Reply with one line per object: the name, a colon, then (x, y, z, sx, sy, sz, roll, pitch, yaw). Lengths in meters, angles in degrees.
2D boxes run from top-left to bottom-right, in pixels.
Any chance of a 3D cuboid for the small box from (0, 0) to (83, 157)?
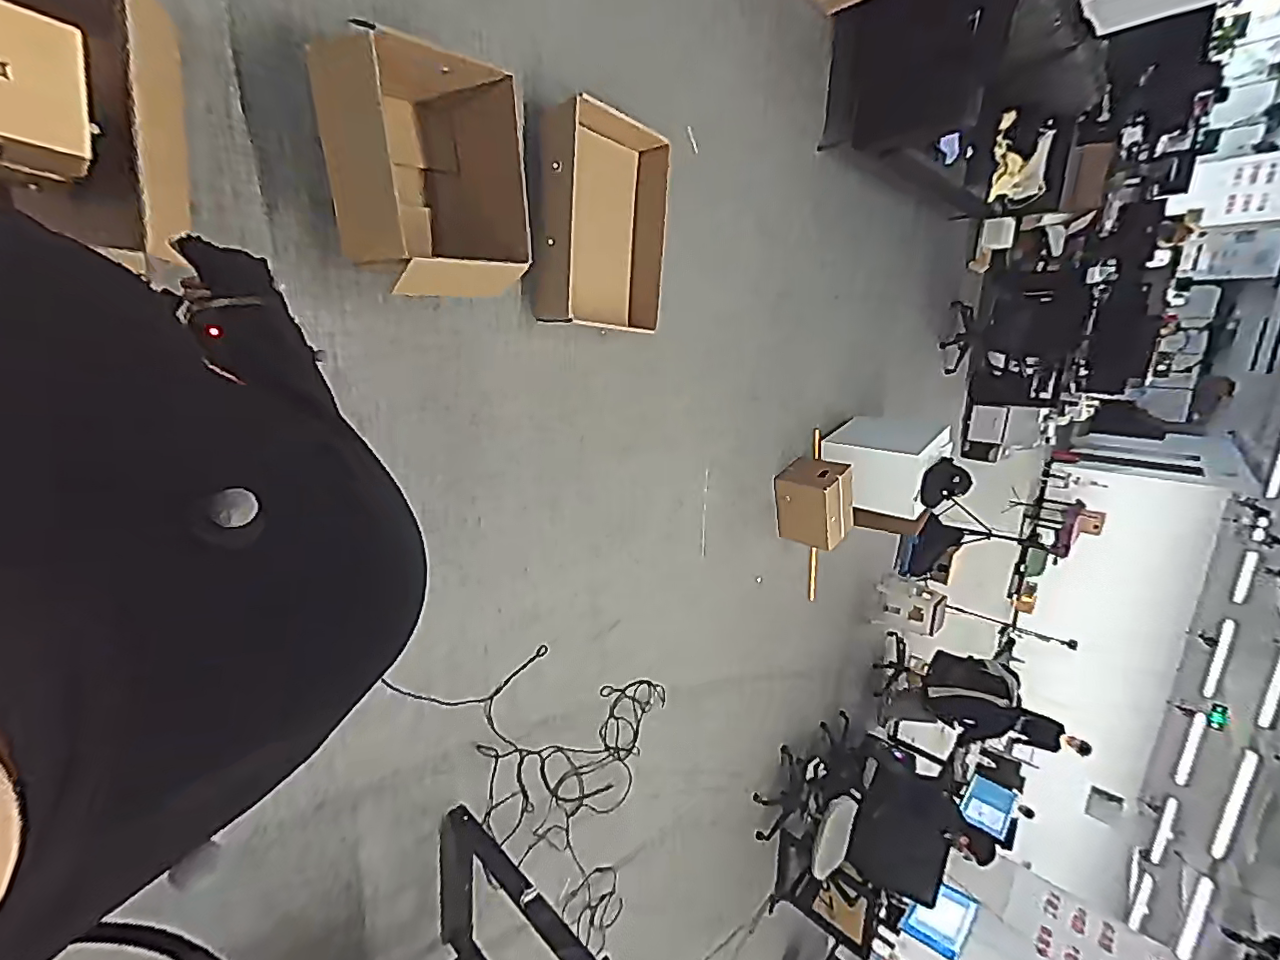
small box: (-0.894, -0.563, 0.734, 0.179, 0.176, 0.168, -7, 106, -47)
